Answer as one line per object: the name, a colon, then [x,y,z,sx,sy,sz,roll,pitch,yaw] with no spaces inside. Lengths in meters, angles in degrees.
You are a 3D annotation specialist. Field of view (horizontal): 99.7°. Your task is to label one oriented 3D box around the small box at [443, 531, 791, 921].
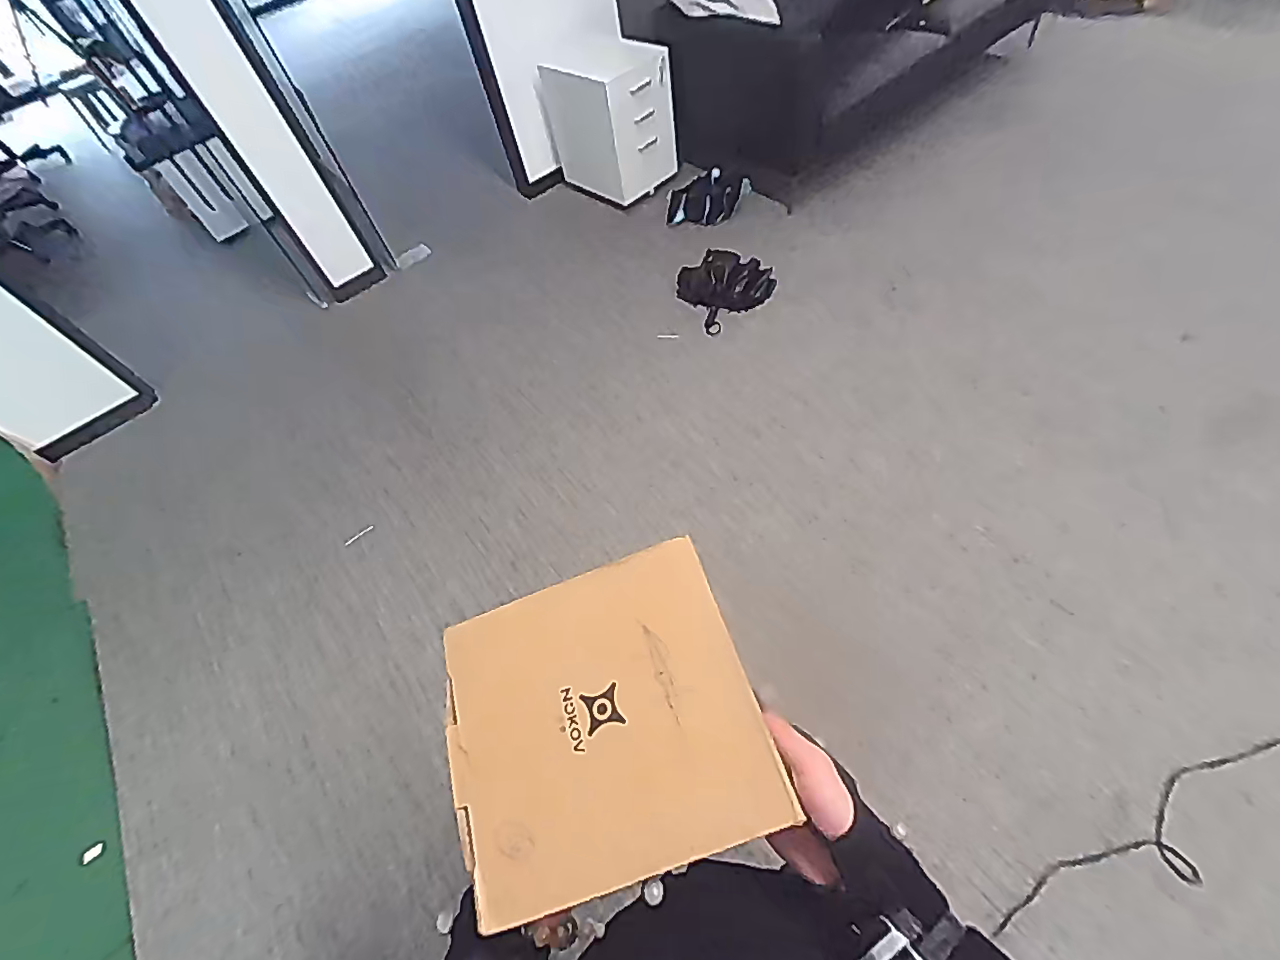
small box: [-0.008,0.165,0.379,0.179,0.176,0.168,-22,61,2]
